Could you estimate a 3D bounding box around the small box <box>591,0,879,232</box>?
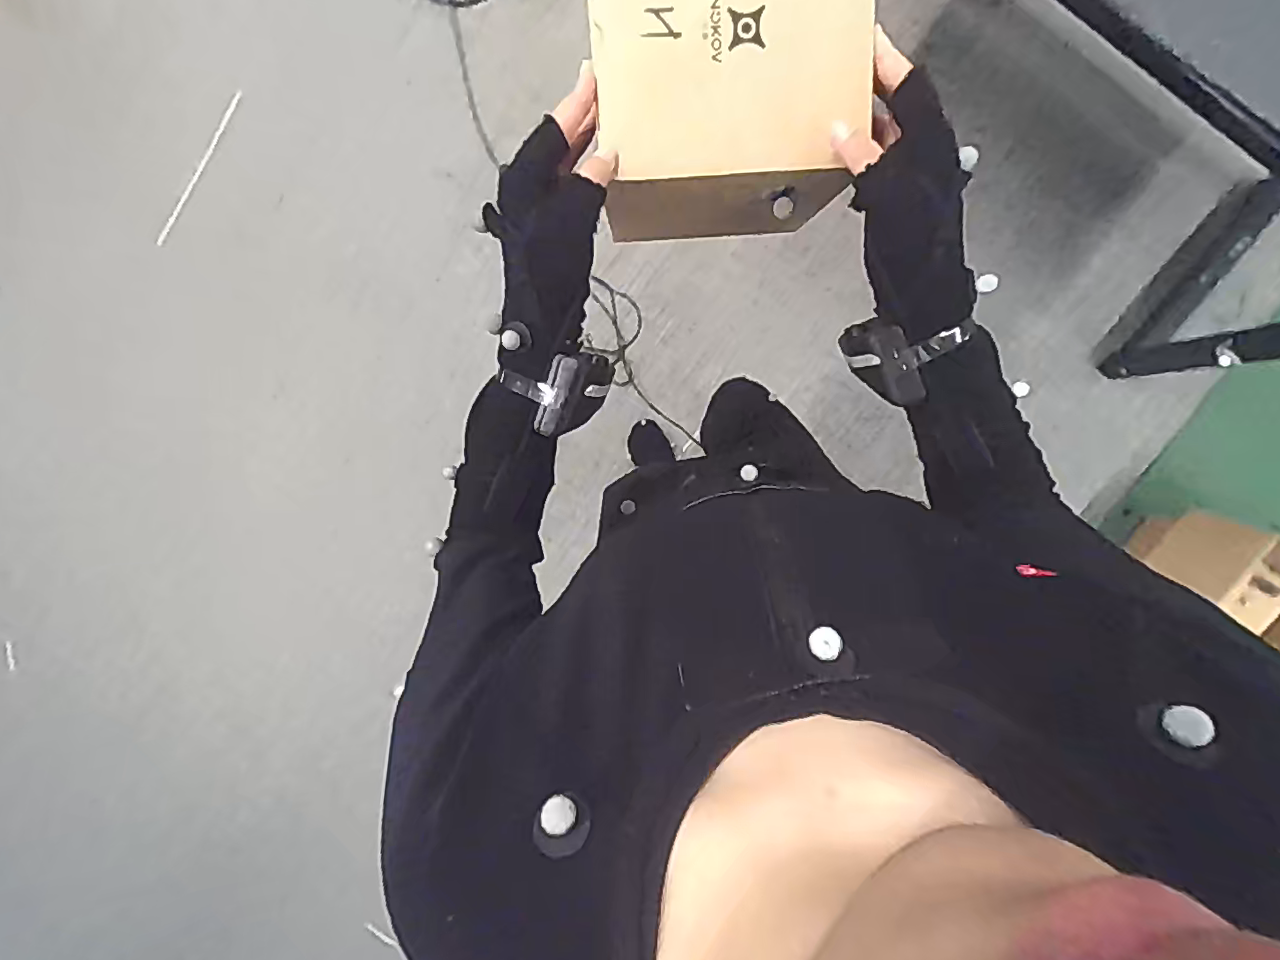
[{"bbox_3d":[0.057,-0.293,0.403,0.179,0.176,0.168,-2,101,1],"label":"small box"}]
